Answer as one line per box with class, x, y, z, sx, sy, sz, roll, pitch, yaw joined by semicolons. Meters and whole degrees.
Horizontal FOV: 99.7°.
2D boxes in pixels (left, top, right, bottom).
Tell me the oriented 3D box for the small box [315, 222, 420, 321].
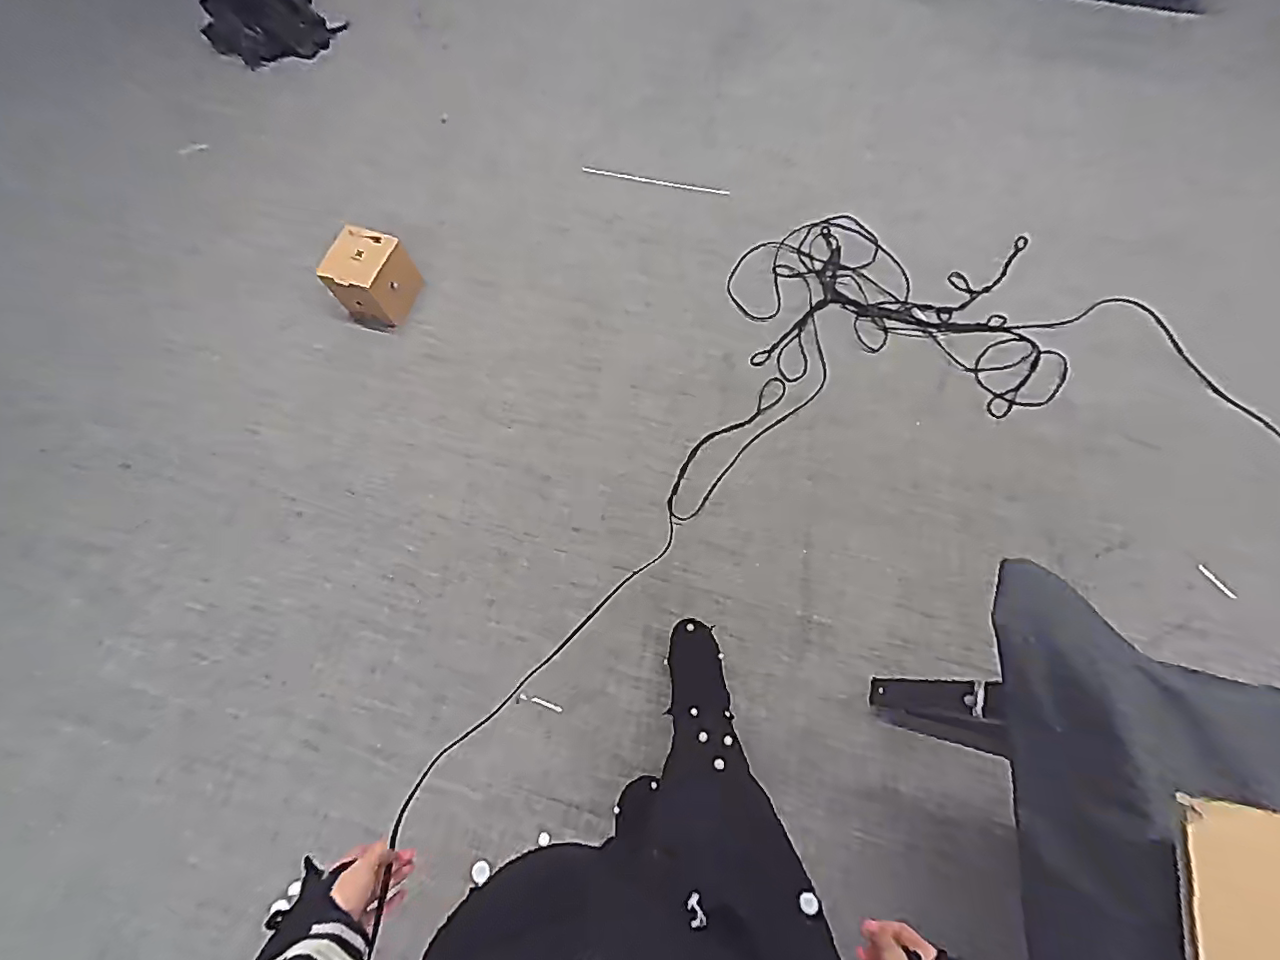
small box;-0.746;-0.574;1.503;0.168;0.176;0.179;18;73;8
